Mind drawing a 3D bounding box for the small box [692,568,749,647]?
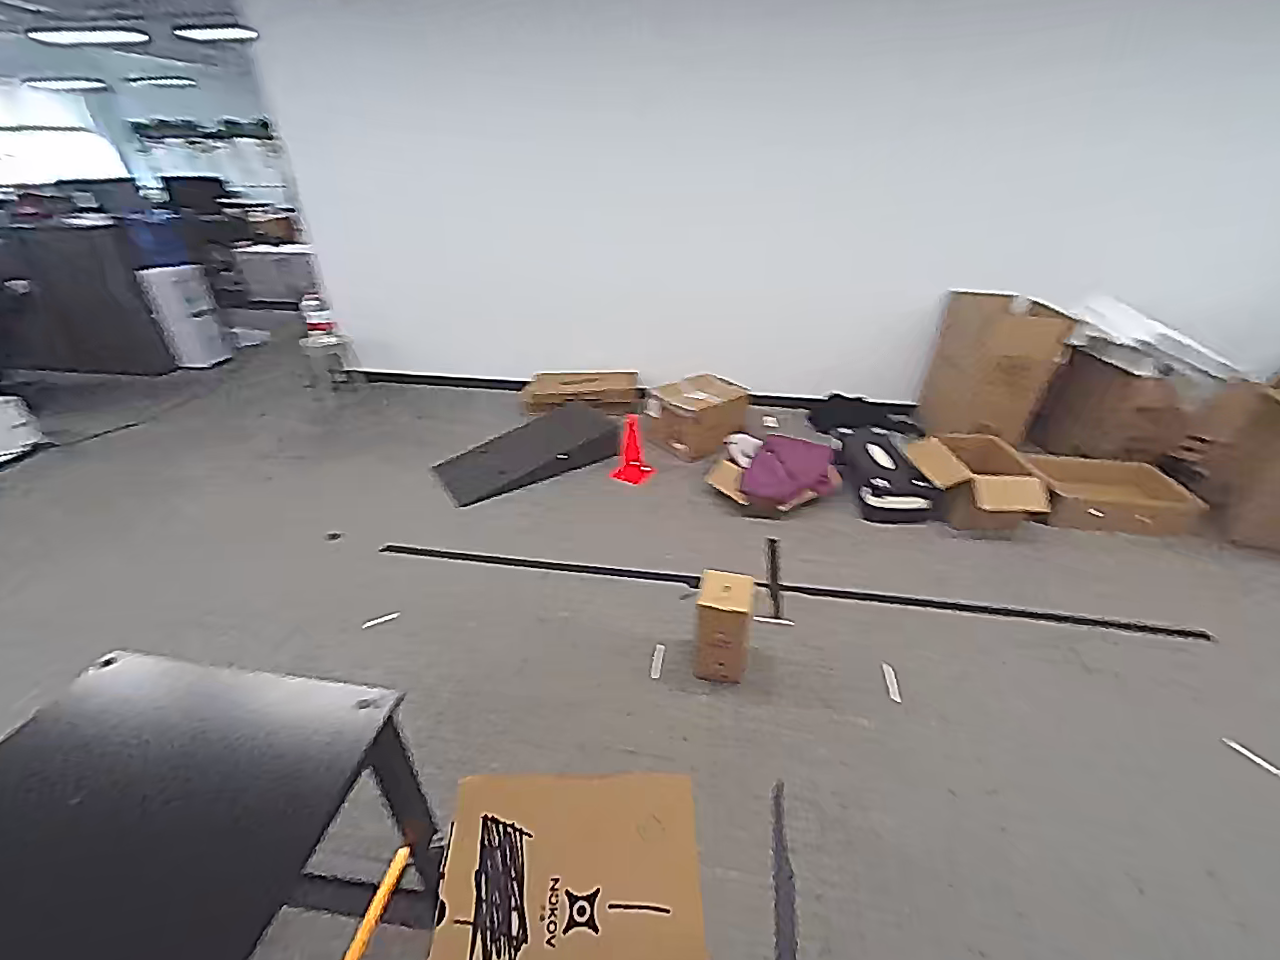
[{"bbox_3d":[0.268,0.422,1.802,0.168,0.176,0.179,7,32,12],"label":"small box"}]

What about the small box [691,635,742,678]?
[{"bbox_3d":[0.267,0.565,1.886,0.168,0.176,0.179,4,32,7],"label":"small box"}]

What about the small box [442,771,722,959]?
[{"bbox_3d":[-0.037,0.338,0.407,0.179,0.176,0.168,1,43,-2],"label":"small box"}]
